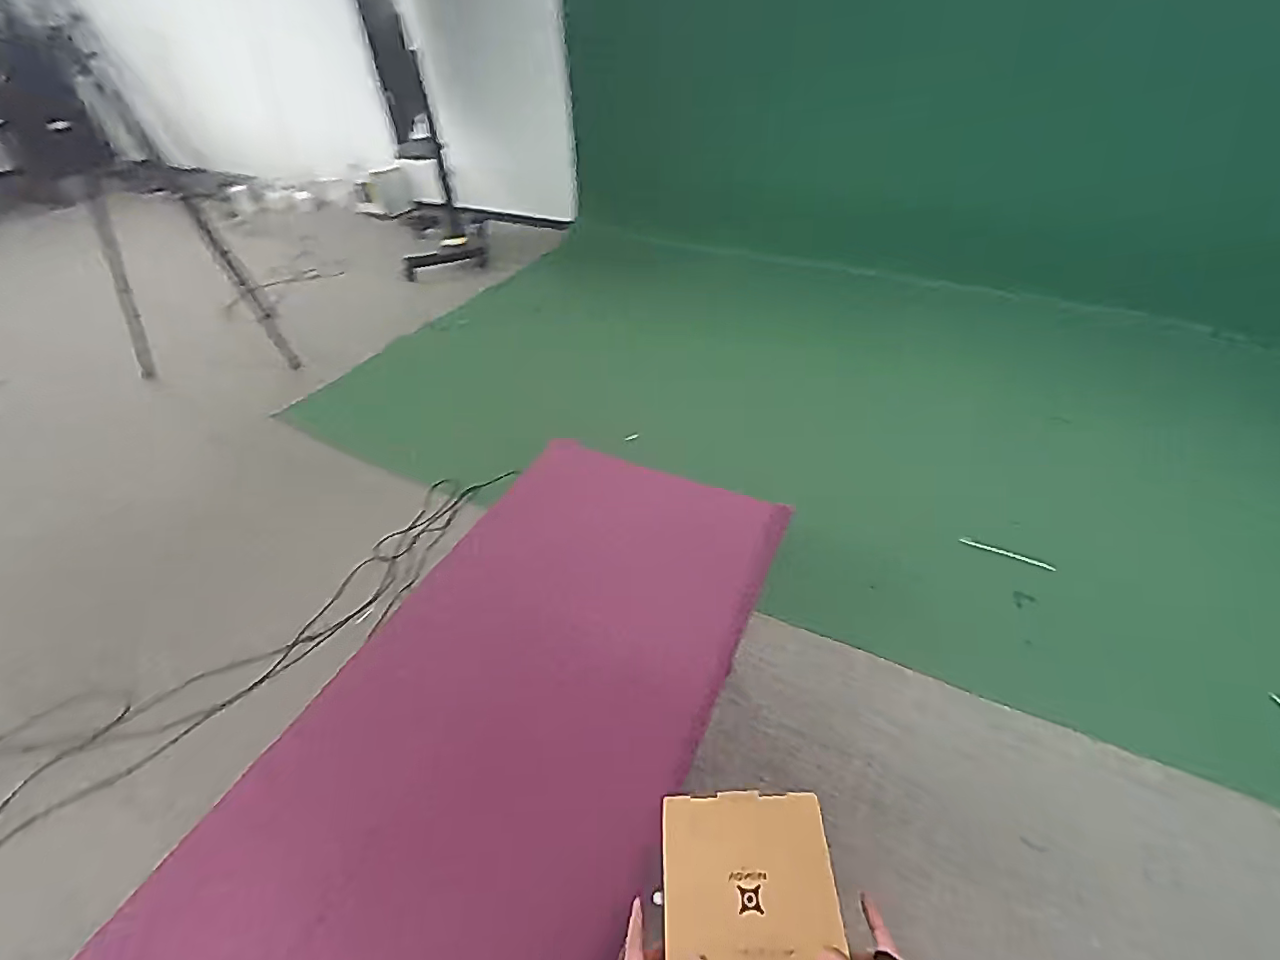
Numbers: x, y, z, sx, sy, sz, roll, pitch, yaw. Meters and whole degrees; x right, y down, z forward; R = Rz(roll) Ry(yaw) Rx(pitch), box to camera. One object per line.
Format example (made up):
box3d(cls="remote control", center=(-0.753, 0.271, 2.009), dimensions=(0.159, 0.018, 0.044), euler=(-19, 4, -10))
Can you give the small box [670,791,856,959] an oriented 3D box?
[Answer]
box3d(cls="small box", center=(0.119, 0.449, 0.565), dimensions=(0.168, 0.176, 0.179), euler=(-5, 43, 7))
